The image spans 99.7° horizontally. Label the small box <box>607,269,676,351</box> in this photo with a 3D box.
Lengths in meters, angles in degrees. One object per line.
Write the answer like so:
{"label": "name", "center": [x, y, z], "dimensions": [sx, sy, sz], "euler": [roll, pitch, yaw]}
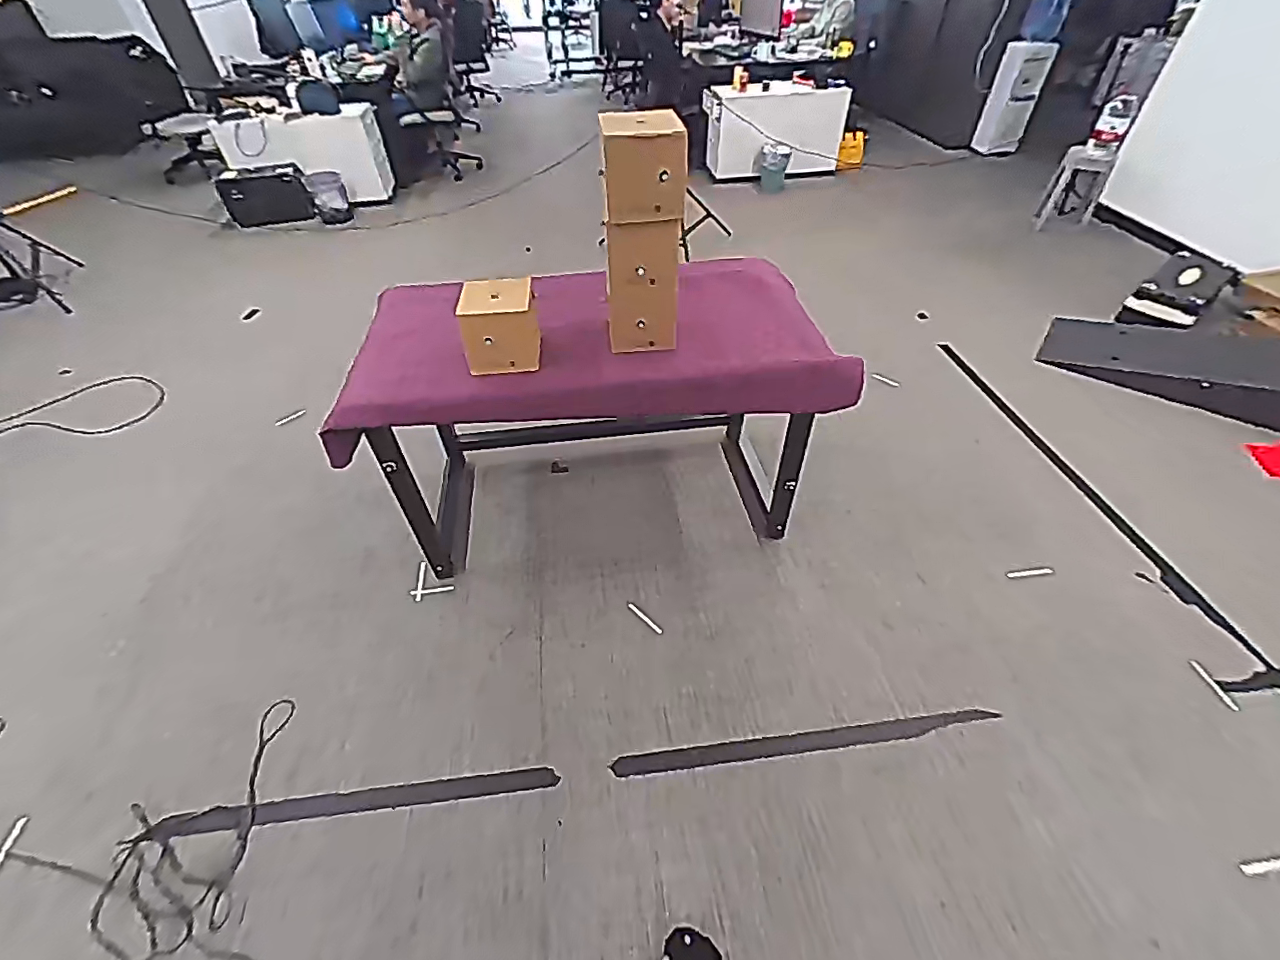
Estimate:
{"label": "small box", "center": [0.002, -0.447, 1.400], "dimensions": [0.168, 0.176, 0.179], "euler": [-4, 45, -3]}

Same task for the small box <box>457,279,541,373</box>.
{"label": "small box", "center": [-0.341, -0.376, 1.341], "dimensions": [0.168, 0.176, 0.179], "euler": [-5, 44, -4]}

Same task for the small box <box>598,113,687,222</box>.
{"label": "small box", "center": [0.004, -0.663, 1.155], "dimensions": [0.168, 0.176, 0.179], "euler": [-6, 45, -5]}

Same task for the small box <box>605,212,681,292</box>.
{"label": "small box", "center": [0.002, -0.565, 1.286], "dimensions": [0.168, 0.176, 0.179], "euler": [-4, 46, -2]}
